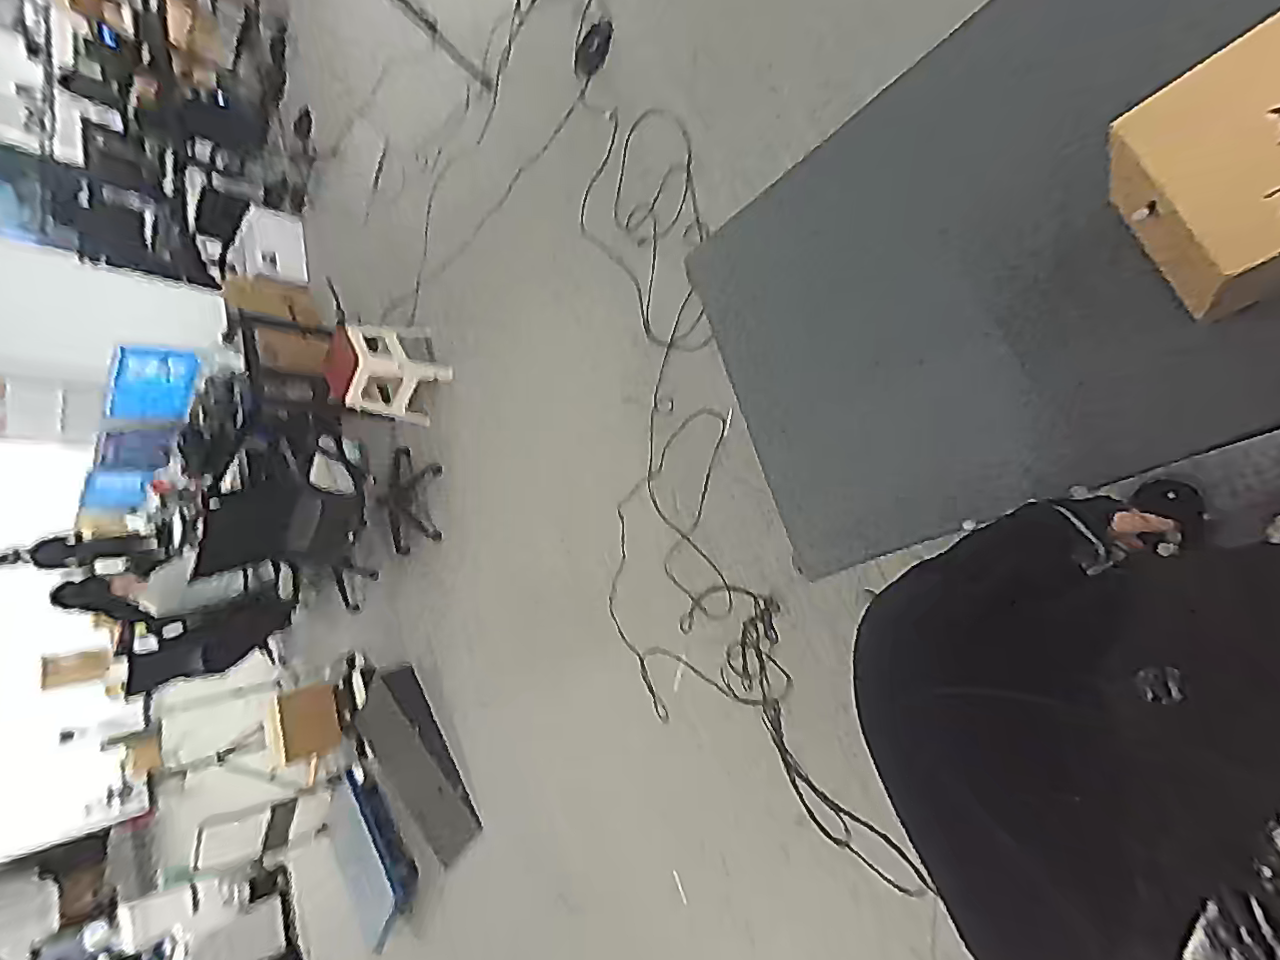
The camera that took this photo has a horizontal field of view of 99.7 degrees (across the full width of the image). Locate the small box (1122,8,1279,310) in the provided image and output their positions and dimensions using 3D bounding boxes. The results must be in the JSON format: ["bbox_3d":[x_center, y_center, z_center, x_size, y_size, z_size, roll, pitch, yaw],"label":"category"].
[{"bbox_3d":[0.565,-0.280,0.474,0.168,0.176,0.179,-32,69,37],"label":"small box"}]
